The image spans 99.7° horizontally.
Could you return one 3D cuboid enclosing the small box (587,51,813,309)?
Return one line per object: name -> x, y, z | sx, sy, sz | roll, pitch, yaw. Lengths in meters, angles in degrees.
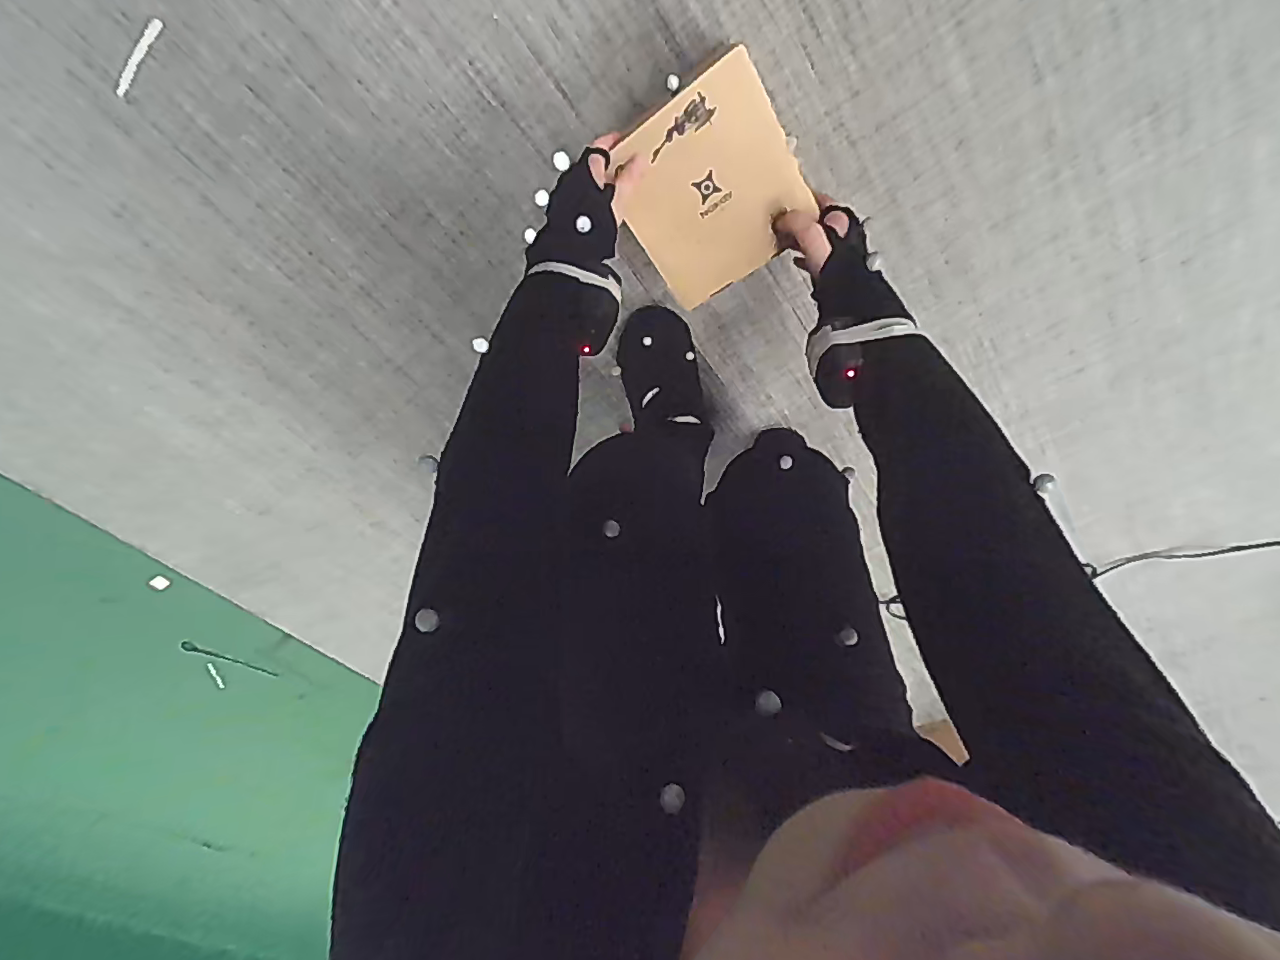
small box -> 0.066, -0.329, 0.592 | 0.168, 0.176, 0.179 | -27, 123, 22
